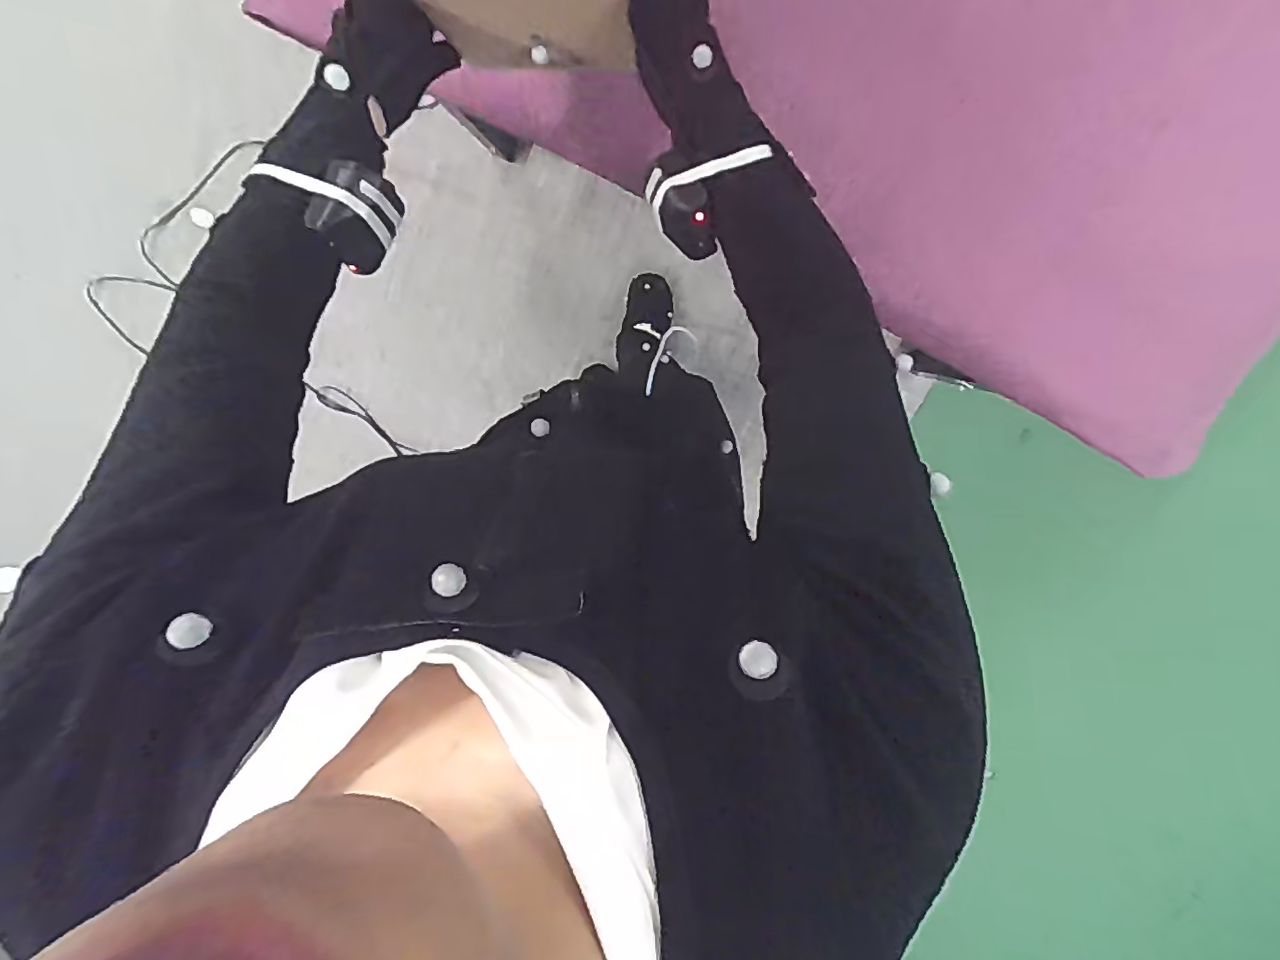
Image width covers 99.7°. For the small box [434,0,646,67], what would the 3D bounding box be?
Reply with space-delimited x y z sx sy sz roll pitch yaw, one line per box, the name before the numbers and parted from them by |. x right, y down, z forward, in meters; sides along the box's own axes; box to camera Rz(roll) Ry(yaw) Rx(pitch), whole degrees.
small box | -0.080 -0.440 0.391 0.168 0.176 0.179 5 108 5
